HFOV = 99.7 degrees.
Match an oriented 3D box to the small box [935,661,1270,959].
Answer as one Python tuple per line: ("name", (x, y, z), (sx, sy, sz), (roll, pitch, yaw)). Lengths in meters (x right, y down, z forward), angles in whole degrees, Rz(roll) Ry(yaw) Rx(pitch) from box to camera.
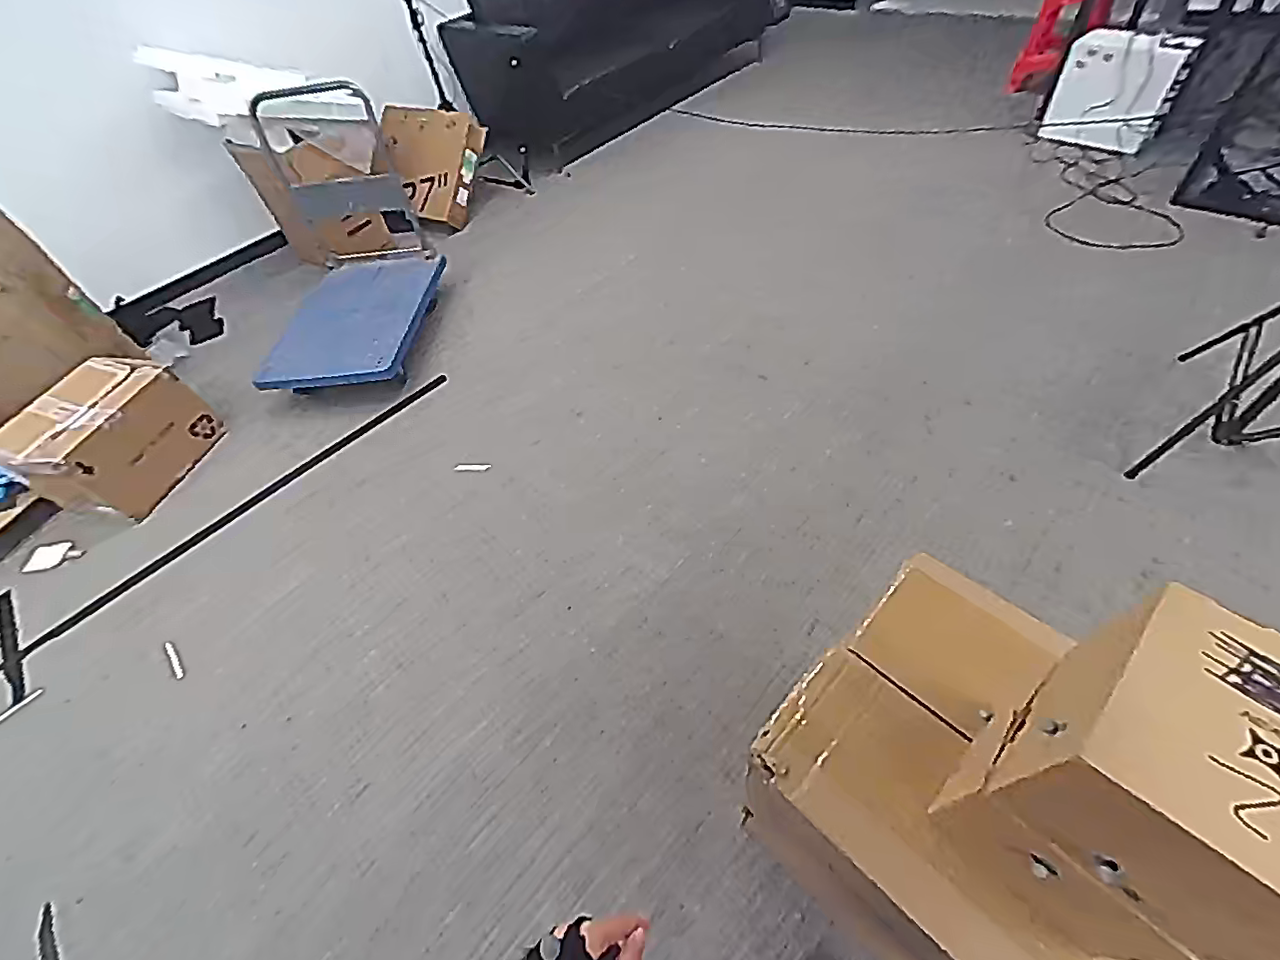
("small box", (0.432, 0.323, 0.539), (0.168, 0.176, 0.179), (-41, 57, -20))
